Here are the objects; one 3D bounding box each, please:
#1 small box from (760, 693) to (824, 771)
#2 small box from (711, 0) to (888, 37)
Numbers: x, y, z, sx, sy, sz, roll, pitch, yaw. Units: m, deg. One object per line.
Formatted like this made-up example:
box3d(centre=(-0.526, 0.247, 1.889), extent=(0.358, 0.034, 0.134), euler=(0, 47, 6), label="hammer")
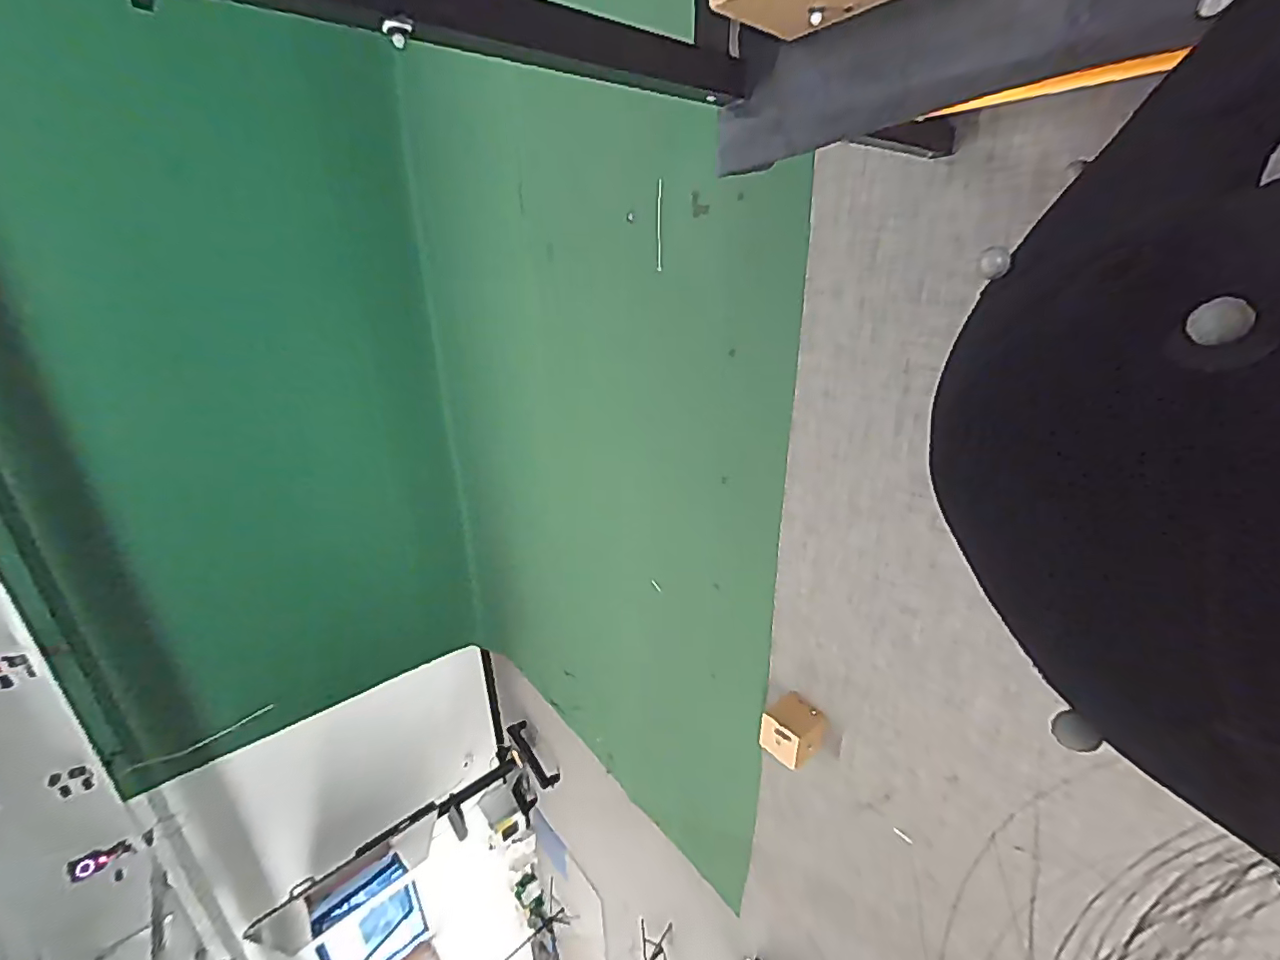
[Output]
box3d(centre=(0.586, 0.961, 2.077), extent=(0.168, 0.176, 0.179), euler=(25, 125, 45), label="small box")
box3d(centre=(0.200, -0.668, 0.633), extent=(0.168, 0.176, 0.179), euler=(20, 120, 46), label="small box")
